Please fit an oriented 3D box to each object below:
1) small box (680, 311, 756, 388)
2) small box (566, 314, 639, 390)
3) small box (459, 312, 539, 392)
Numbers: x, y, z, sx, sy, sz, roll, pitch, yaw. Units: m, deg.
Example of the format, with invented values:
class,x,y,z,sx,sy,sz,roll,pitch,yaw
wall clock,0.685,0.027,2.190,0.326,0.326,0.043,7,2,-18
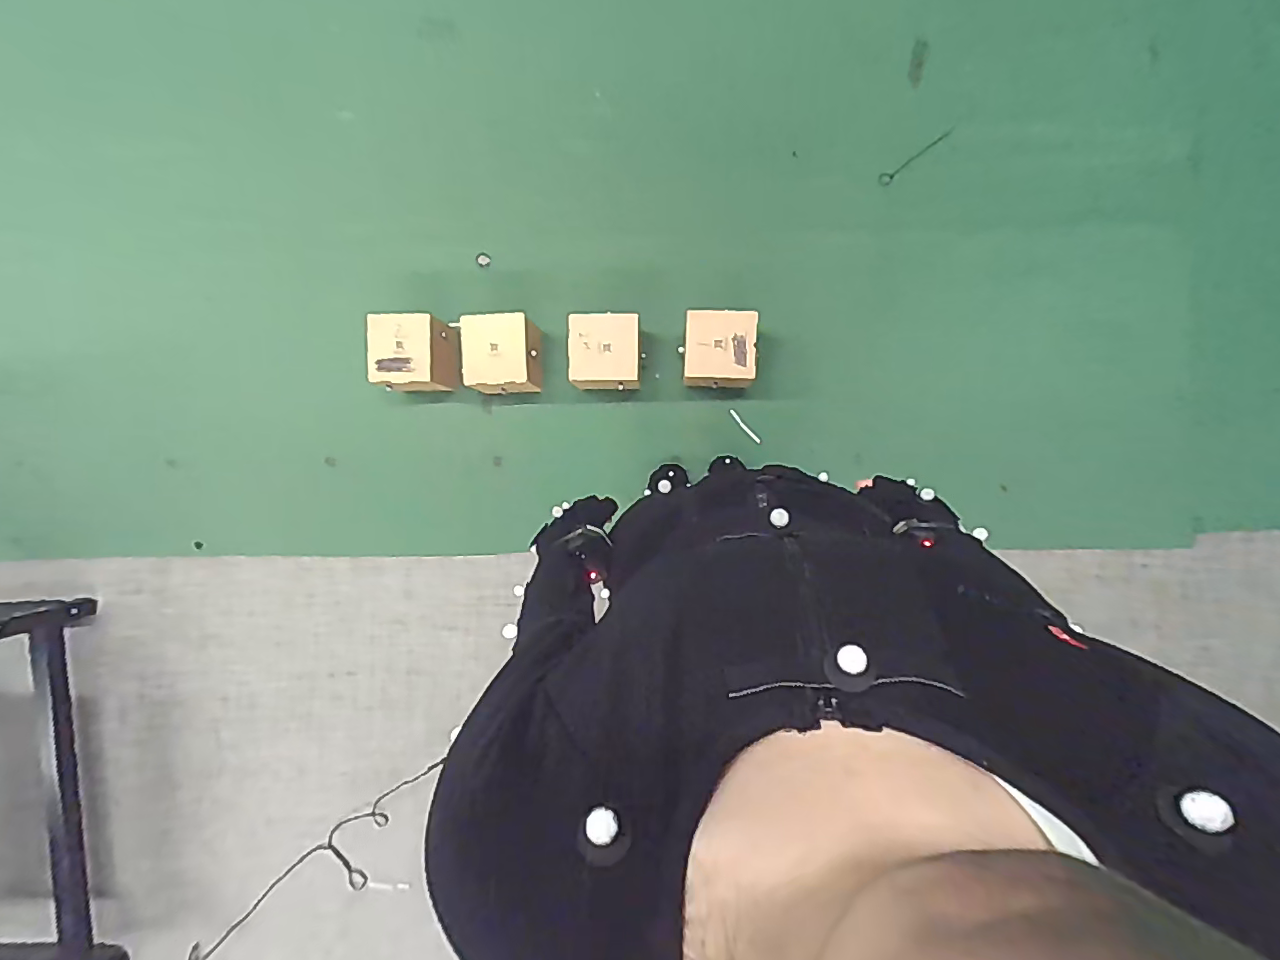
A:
class,x,y,z,sx,sy,sz,roll,pitch,yaw
small box,0.195,-0.332,1.399,0.179,0.176,0.168,3,92,4
small box,-0.093,-0.330,1.413,0.179,0.176,0.168,1,92,3
small box,-0.368,-0.332,1.429,0.168,0.176,0.179,-2,93,3
